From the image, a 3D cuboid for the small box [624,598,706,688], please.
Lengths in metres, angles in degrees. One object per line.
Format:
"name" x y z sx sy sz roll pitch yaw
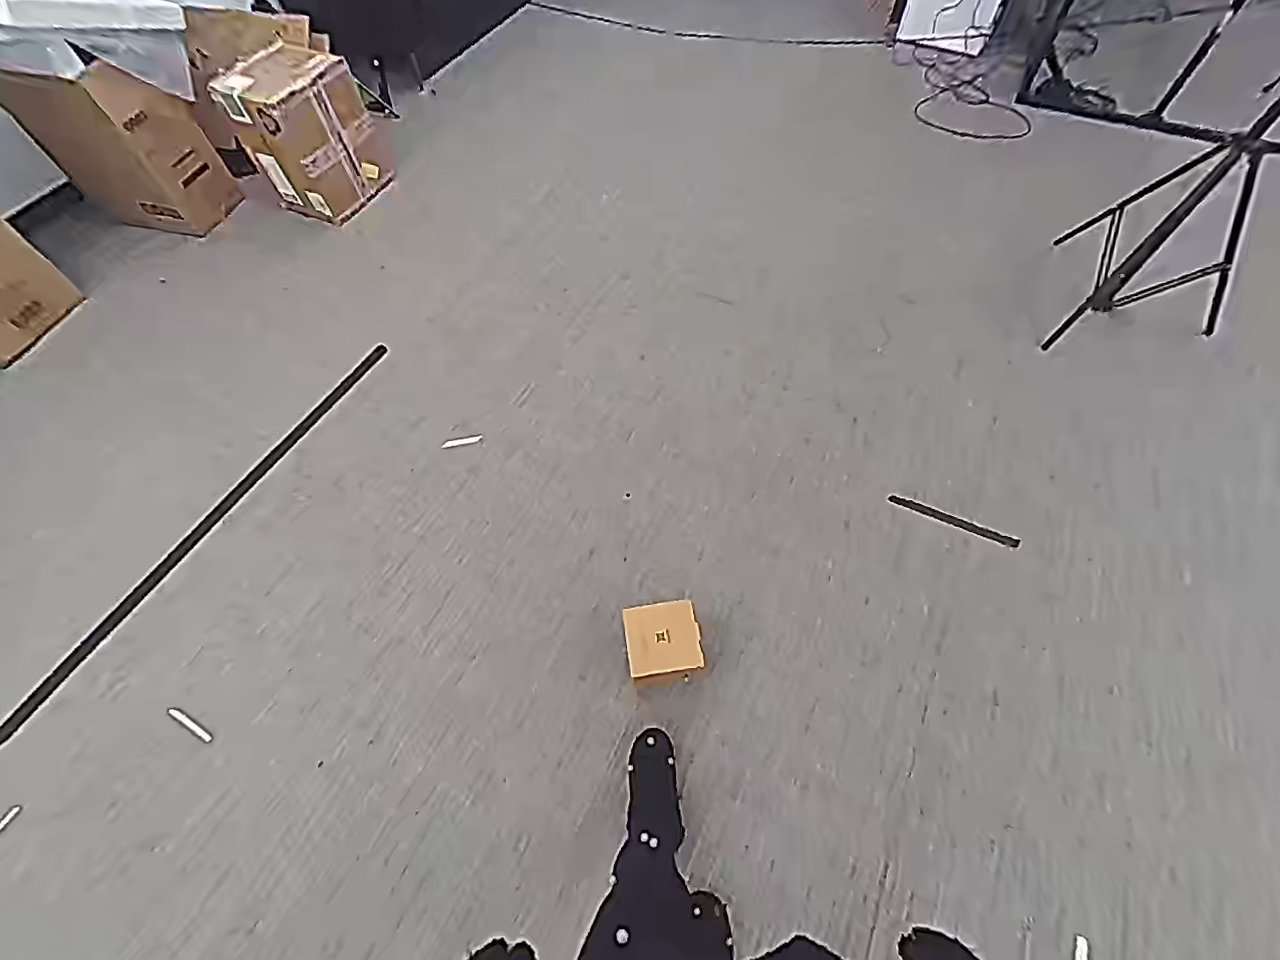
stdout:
"small box" 0.059 0.409 1.350 0.179 0.176 0.168 -9 59 -2
